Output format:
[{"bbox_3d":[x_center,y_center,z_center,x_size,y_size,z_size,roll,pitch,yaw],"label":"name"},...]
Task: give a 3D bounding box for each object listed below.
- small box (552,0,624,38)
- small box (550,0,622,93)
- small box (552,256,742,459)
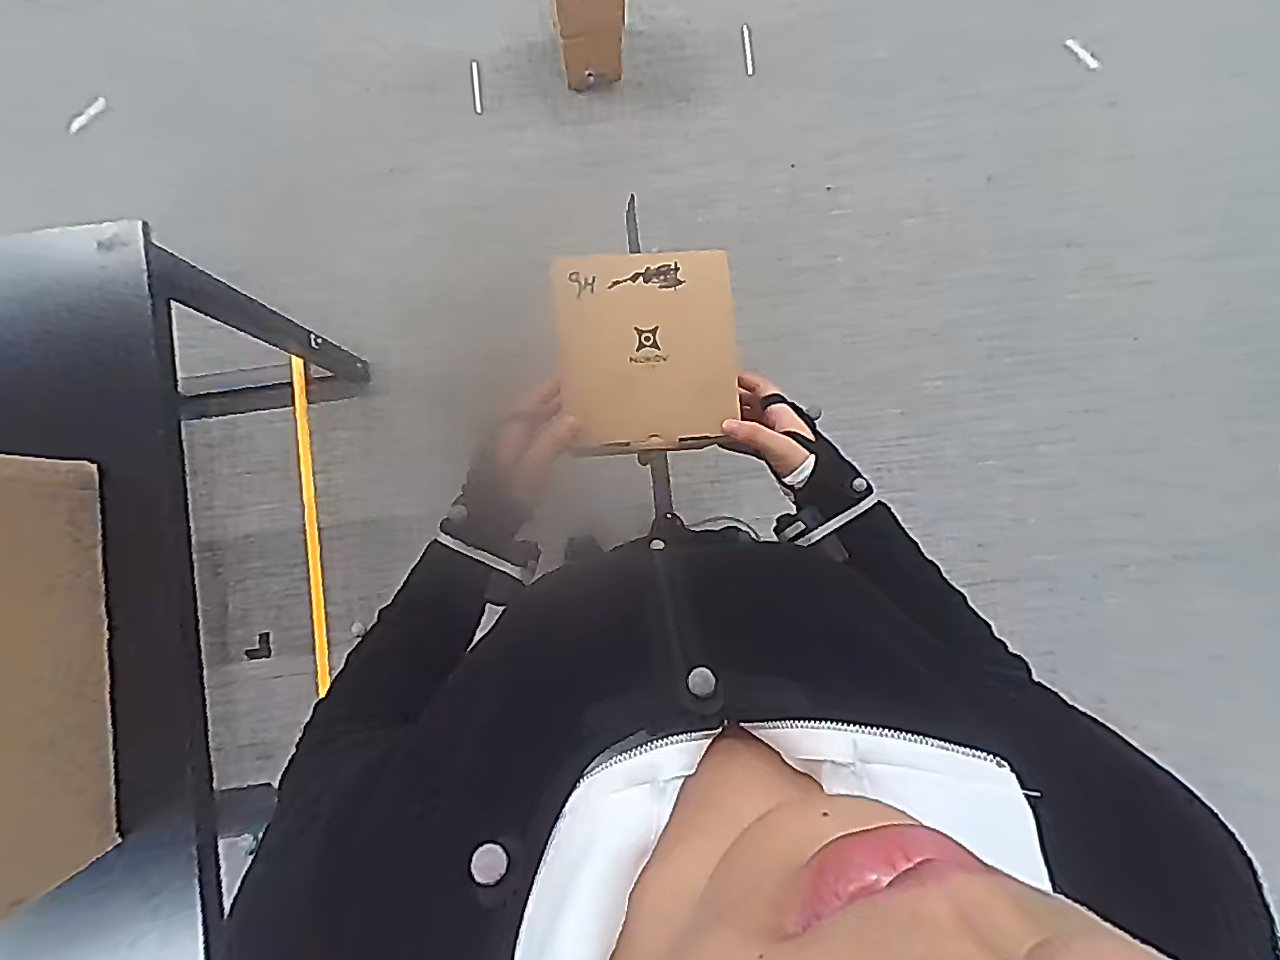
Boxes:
[{"bbox_3d":[-0.138,-1.238,1.330,0.179,0.176,0.168,-11,88,-2],"label":"small box"},{"bbox_3d":[-0.148,-1.226,1.494,0.168,0.176,0.179,-14,89,-2],"label":"small box"},{"bbox_3d":[0.001,-0.115,0.570,0.168,0.176,0.179,-5,91,-5],"label":"small box"}]
